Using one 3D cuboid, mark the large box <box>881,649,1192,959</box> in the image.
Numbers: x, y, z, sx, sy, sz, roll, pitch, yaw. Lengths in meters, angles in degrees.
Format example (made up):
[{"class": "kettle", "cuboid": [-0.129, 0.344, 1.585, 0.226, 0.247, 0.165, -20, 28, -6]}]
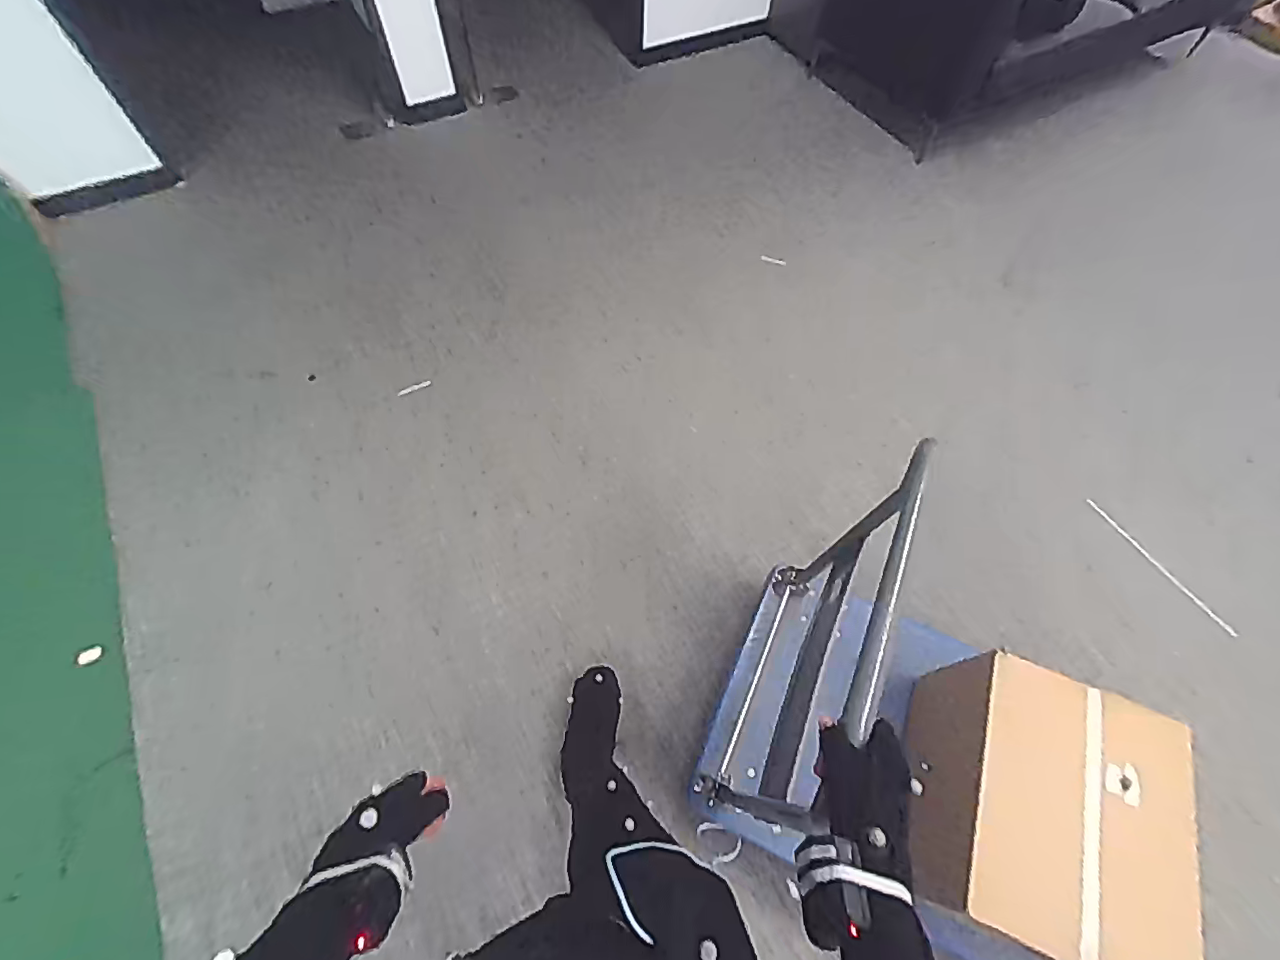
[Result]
[{"class": "large box", "cuboid": [0.670, 0.584, 0.962, 0.320, 0.320, 0.408, 23, 61, 10]}]
